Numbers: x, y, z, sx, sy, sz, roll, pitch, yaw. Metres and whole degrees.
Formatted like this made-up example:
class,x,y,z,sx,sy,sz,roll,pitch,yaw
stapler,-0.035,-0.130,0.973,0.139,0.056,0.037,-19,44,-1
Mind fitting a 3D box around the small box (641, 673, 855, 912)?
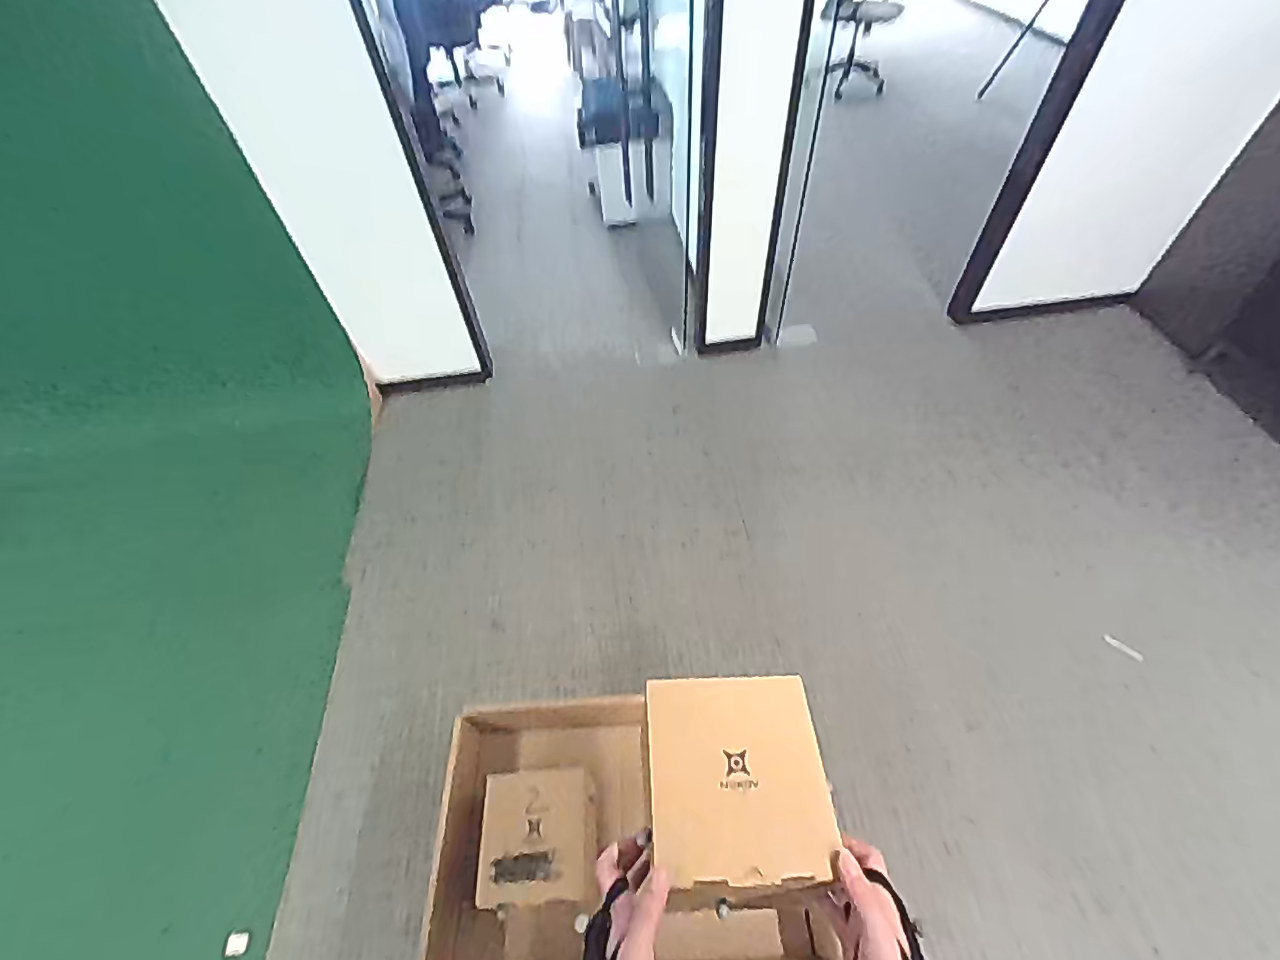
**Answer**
class,x,y,z,sx,sy,sz,roll,pitch,yaw
small box,0.088,0.317,0.550,0.168,0.176,0.179,-1,47,-3
